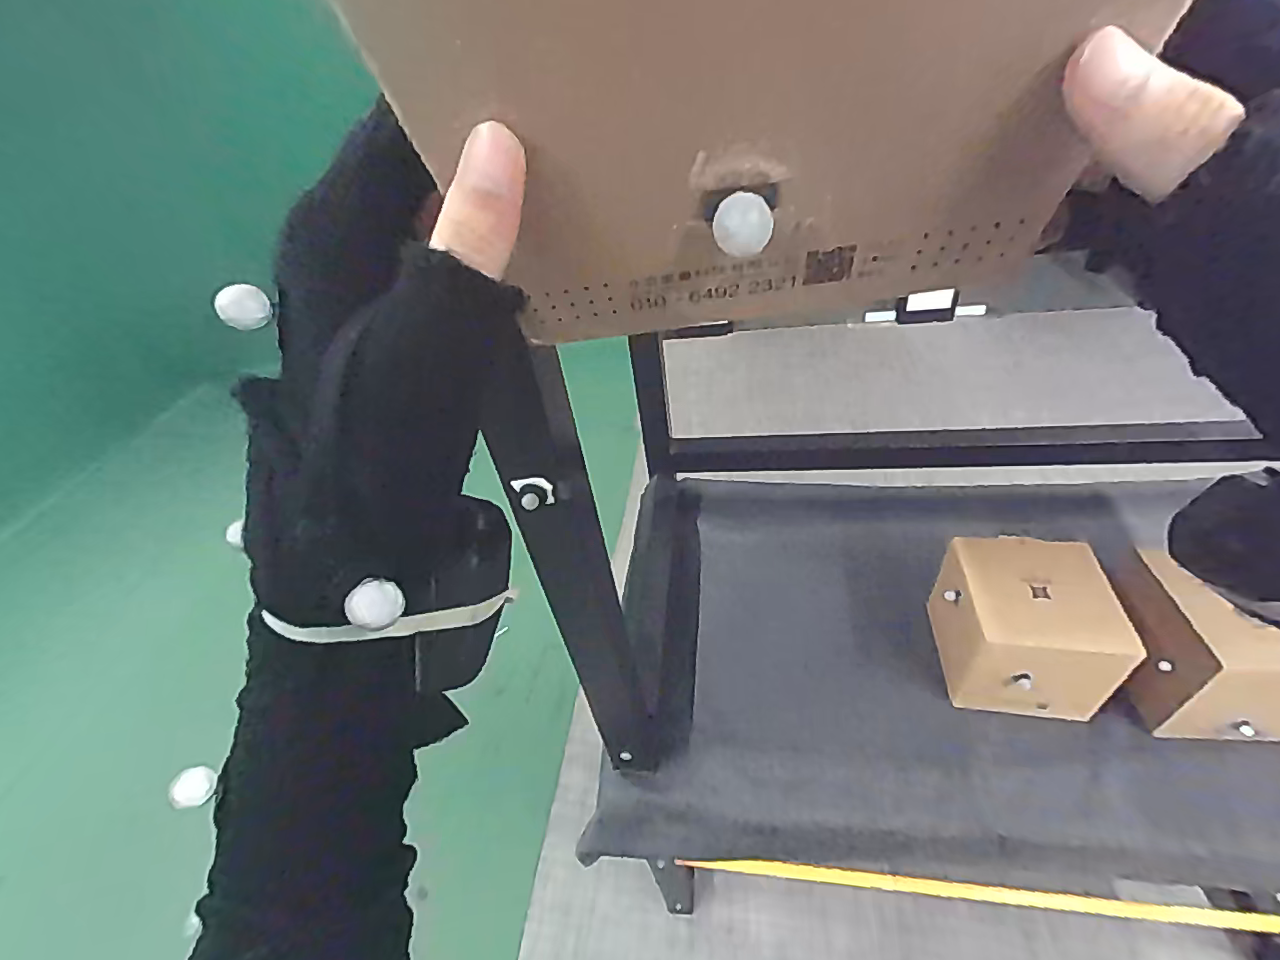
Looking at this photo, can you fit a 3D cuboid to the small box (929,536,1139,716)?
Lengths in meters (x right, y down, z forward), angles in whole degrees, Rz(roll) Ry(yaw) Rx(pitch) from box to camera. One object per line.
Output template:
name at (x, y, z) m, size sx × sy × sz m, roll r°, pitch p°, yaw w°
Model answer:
small box at (0.518, 0.200, 0.745) m, size 0.168 × 0.176 × 0.179 m, roll 2°, pitch 42°, yaw 13°

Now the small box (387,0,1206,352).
small box at (0.028, -0.161, 0.148) m, size 0.168 × 0.176 × 0.179 m, roll -5°, pitch 68°, yaw 8°
